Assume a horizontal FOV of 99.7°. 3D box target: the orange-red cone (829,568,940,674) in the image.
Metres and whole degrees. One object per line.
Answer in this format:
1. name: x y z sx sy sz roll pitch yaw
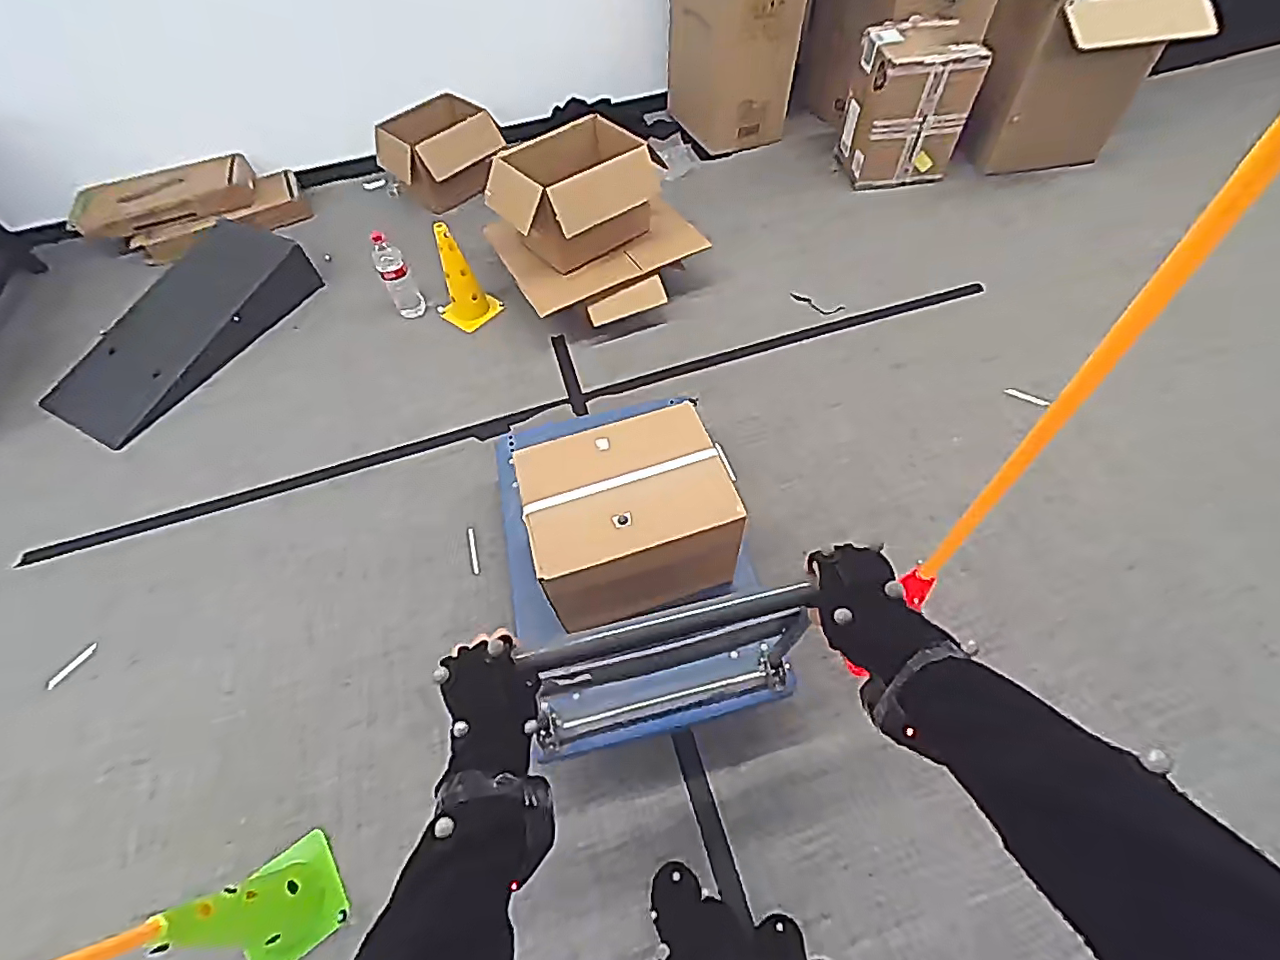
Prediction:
1. orange-red cone: 0.589 0.285 1.221 0.199 0.360 0.198 -10 57 -4
